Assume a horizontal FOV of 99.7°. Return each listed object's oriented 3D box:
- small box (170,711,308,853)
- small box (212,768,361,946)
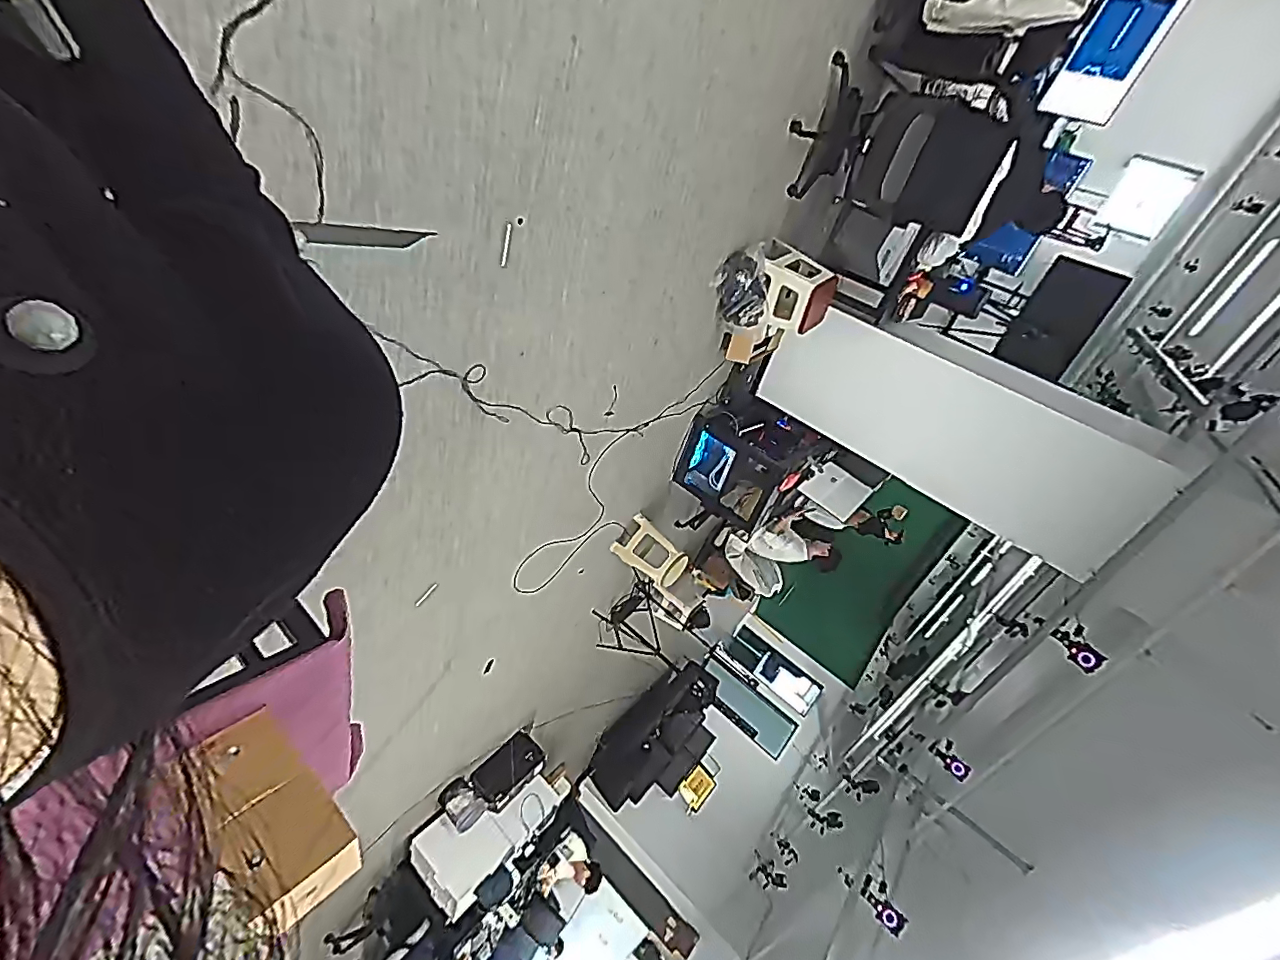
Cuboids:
[{"bbox_3d":[-0.762,0.588,1.044,0.168,0.176,0.179,-28,146,-46],"label":"small box"},{"bbox_3d":[-0.640,0.675,0.982,0.179,0.176,0.168,-30,149,-45],"label":"small box"}]
